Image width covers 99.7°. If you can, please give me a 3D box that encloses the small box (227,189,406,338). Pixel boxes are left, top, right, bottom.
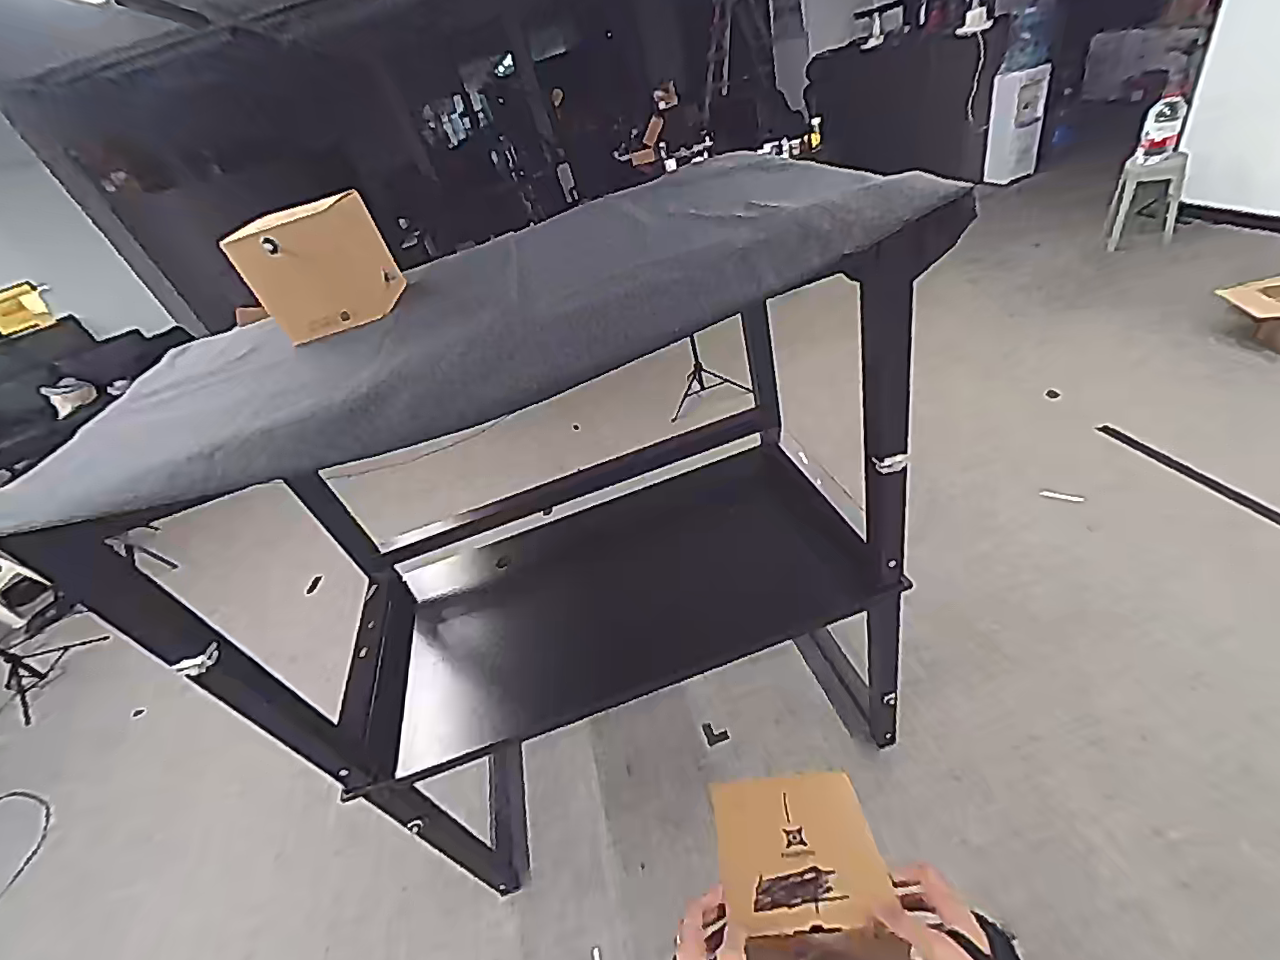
[{"bbox_3d":[-0.514,-0.357,0.893,0.168,0.176,0.179,-17,37,2],"label":"small box"}]

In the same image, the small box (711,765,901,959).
[{"bbox_3d":[0.177,0.458,0.598,0.168,0.176,0.179,-9,16,5],"label":"small box"}]
